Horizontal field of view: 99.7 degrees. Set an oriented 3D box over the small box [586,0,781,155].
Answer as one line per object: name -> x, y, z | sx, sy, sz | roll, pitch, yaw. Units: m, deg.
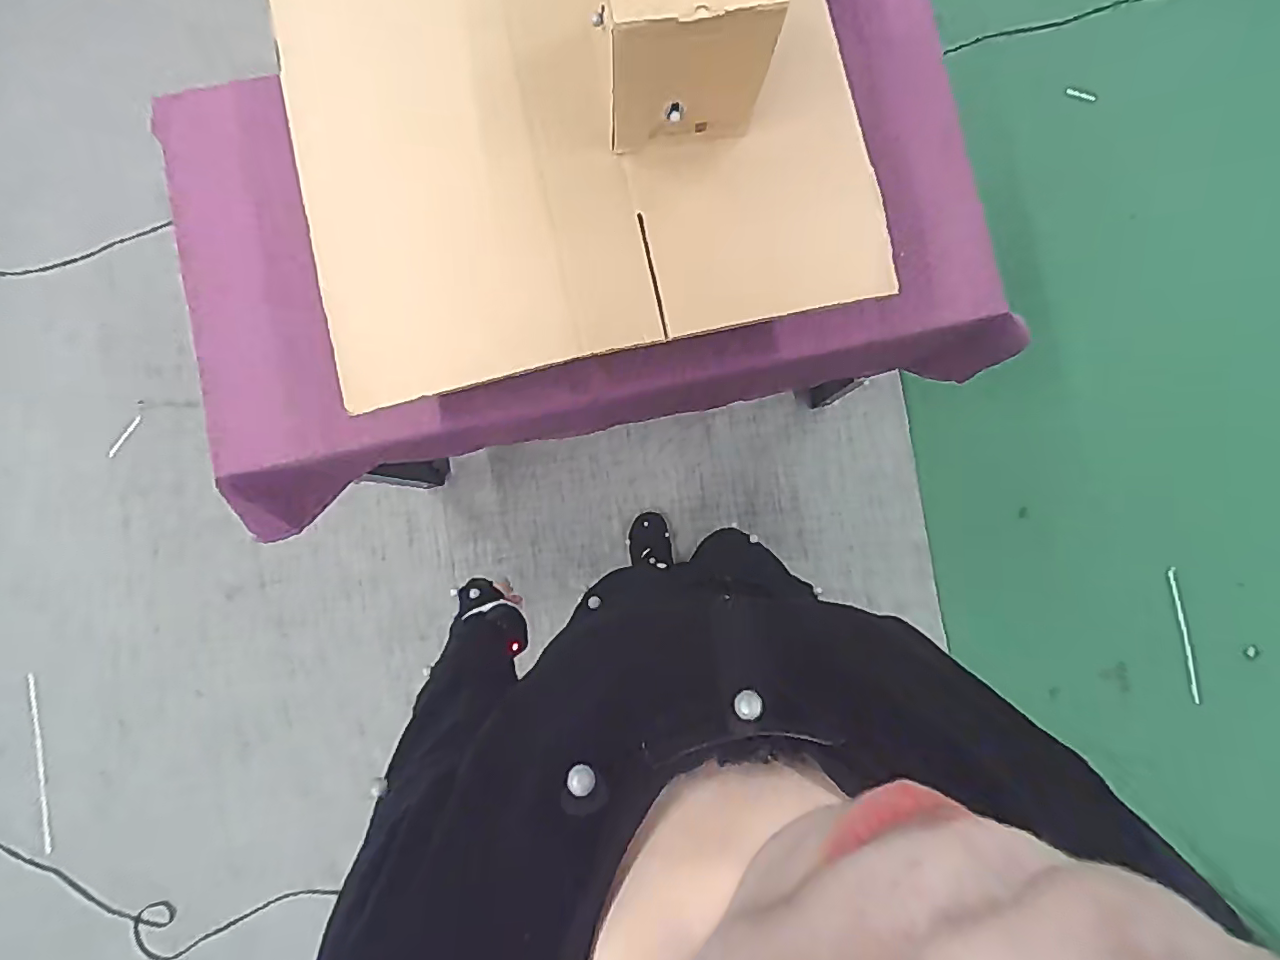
small box -> 0.033, -0.494, 0.583 | 0.168, 0.176, 0.179 | -10, 87, -3
